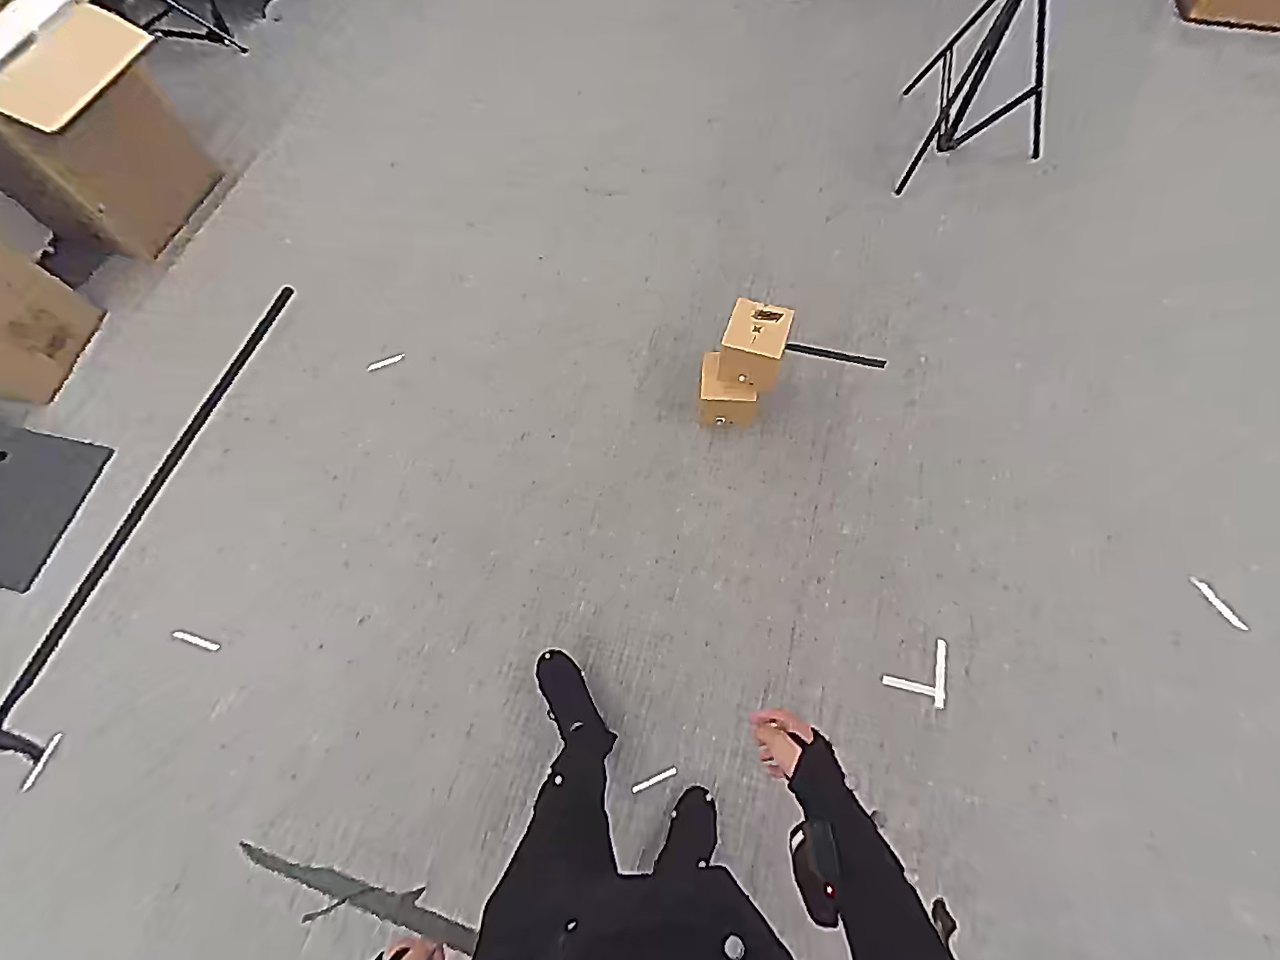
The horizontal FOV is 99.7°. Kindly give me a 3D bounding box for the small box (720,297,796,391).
[{"bbox_3d":[0.333,-0.388,1.551,0.168,0.176,0.179,17,69,12],"label":"small box"}]

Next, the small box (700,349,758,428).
[{"bbox_3d":[0.275,-0.284,1.688,0.168,0.176,0.179,4,67,6],"label":"small box"}]
